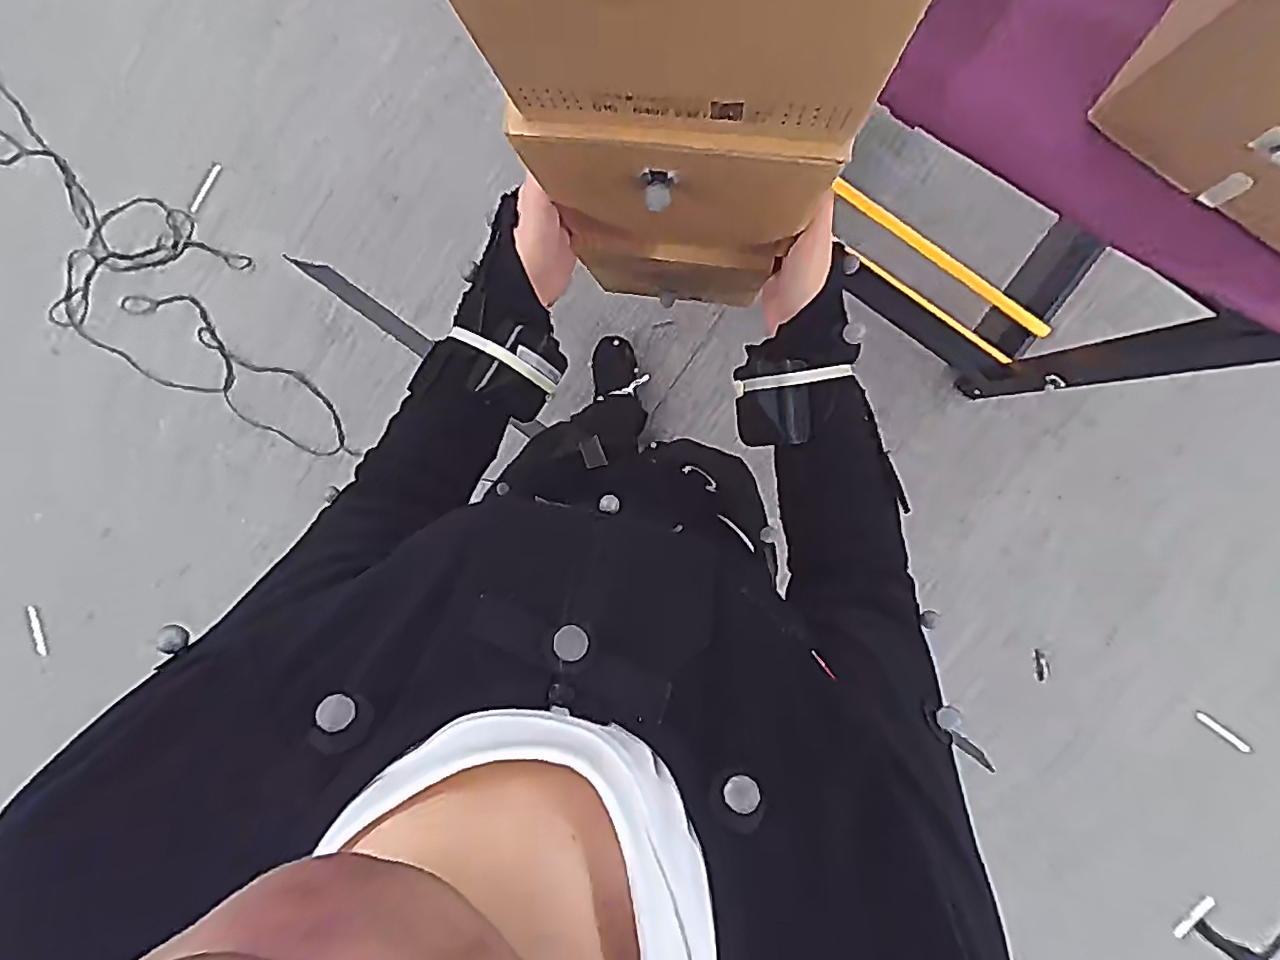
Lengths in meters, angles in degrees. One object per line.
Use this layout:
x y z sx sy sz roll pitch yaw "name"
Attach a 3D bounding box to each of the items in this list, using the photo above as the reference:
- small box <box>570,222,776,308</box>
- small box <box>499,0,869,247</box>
0.042 -0.270 0.496 0.168 0.176 0.179 8 99 5 "small box"
0.031 -0.255 0.335 0.179 0.176 0.168 8 99 6 "small box"
